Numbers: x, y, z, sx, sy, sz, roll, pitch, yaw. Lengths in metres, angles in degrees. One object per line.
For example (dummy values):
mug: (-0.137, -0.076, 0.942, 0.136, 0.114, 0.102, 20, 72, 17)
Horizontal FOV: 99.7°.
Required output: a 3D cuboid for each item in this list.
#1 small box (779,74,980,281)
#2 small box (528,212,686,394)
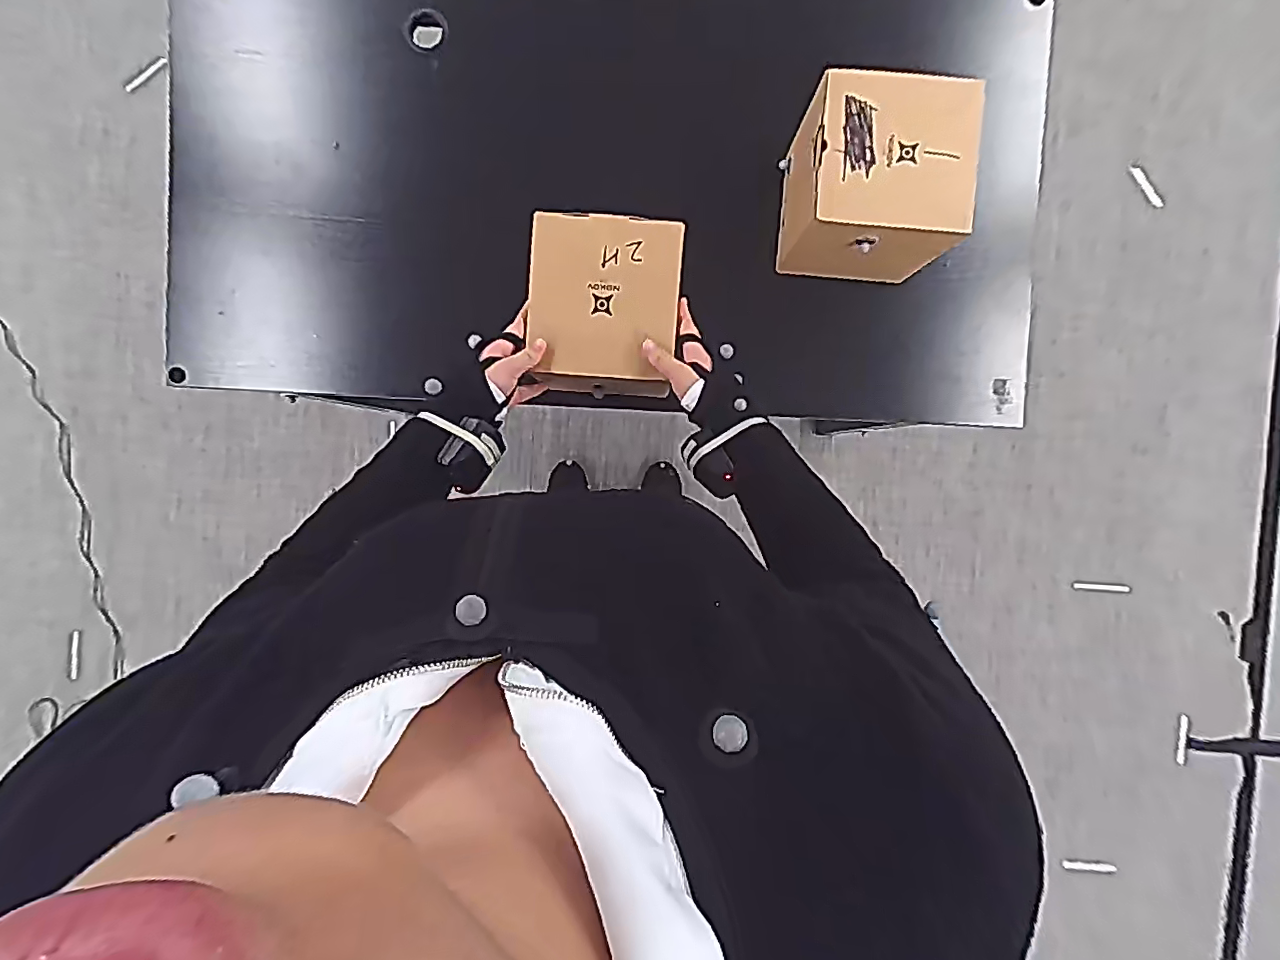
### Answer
small box: (0.283, -0.363, 0.679, 0.179, 0.176, 0.168, 5, 92, 0)
small box: (-0.036, -0.206, 0.677, 0.168, 0.176, 0.179, 5, 92, -1)
